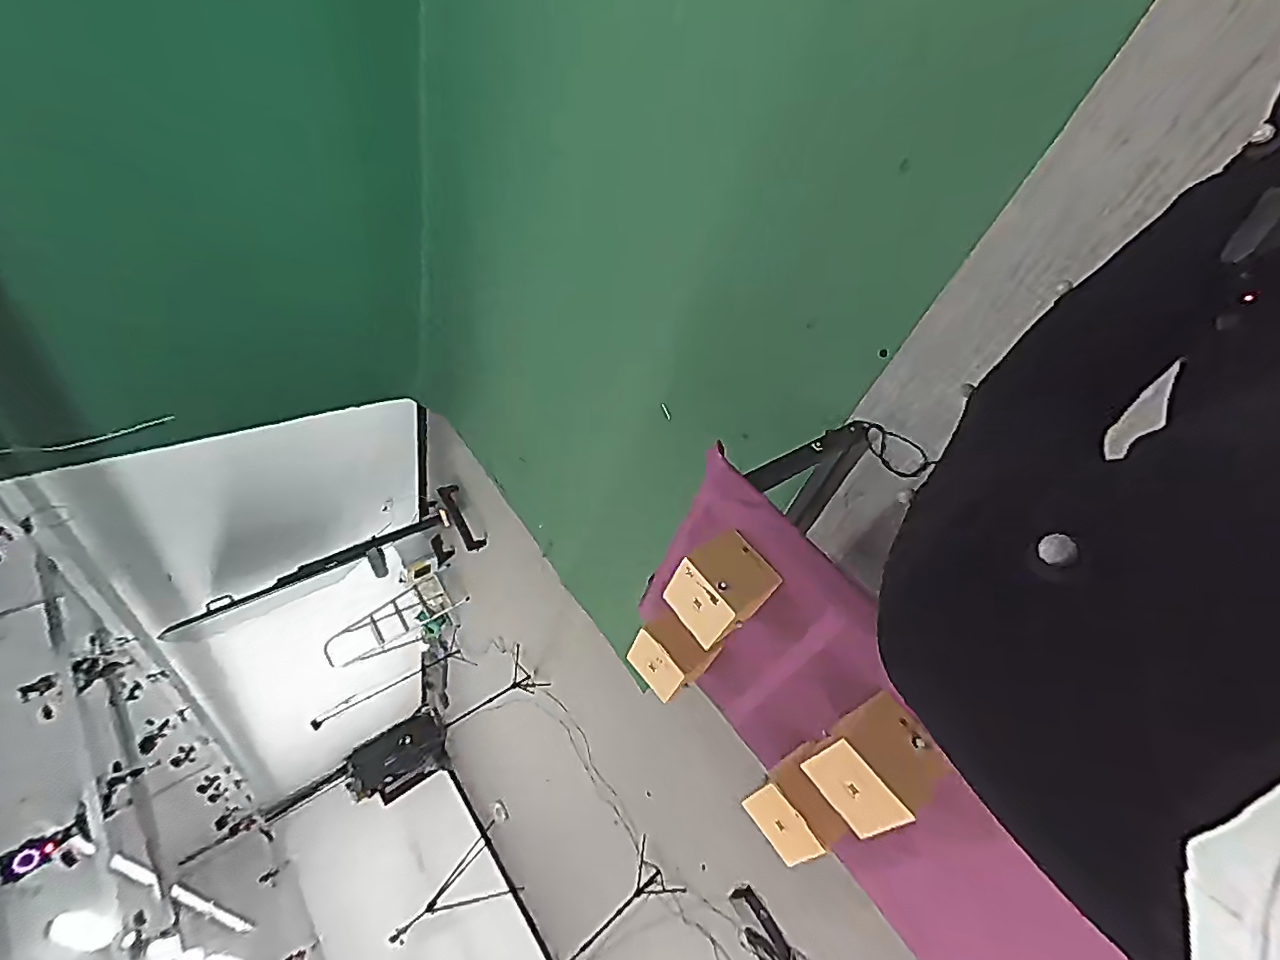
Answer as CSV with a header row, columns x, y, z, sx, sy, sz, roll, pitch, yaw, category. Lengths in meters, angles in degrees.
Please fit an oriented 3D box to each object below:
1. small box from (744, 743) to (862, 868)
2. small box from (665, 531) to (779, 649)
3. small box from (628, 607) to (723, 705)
x,y,z,sx,sy,sz,roll,pitch,yaw,category
0.384,0.760,1.270,0.168,0.176,0.179,48,137,25,small box
0.189,0.249,1.242,0.168,0.176,0.179,47,141,23,small box
0.097,0.462,1.462,0.168,0.176,0.179,44,137,23,small box
